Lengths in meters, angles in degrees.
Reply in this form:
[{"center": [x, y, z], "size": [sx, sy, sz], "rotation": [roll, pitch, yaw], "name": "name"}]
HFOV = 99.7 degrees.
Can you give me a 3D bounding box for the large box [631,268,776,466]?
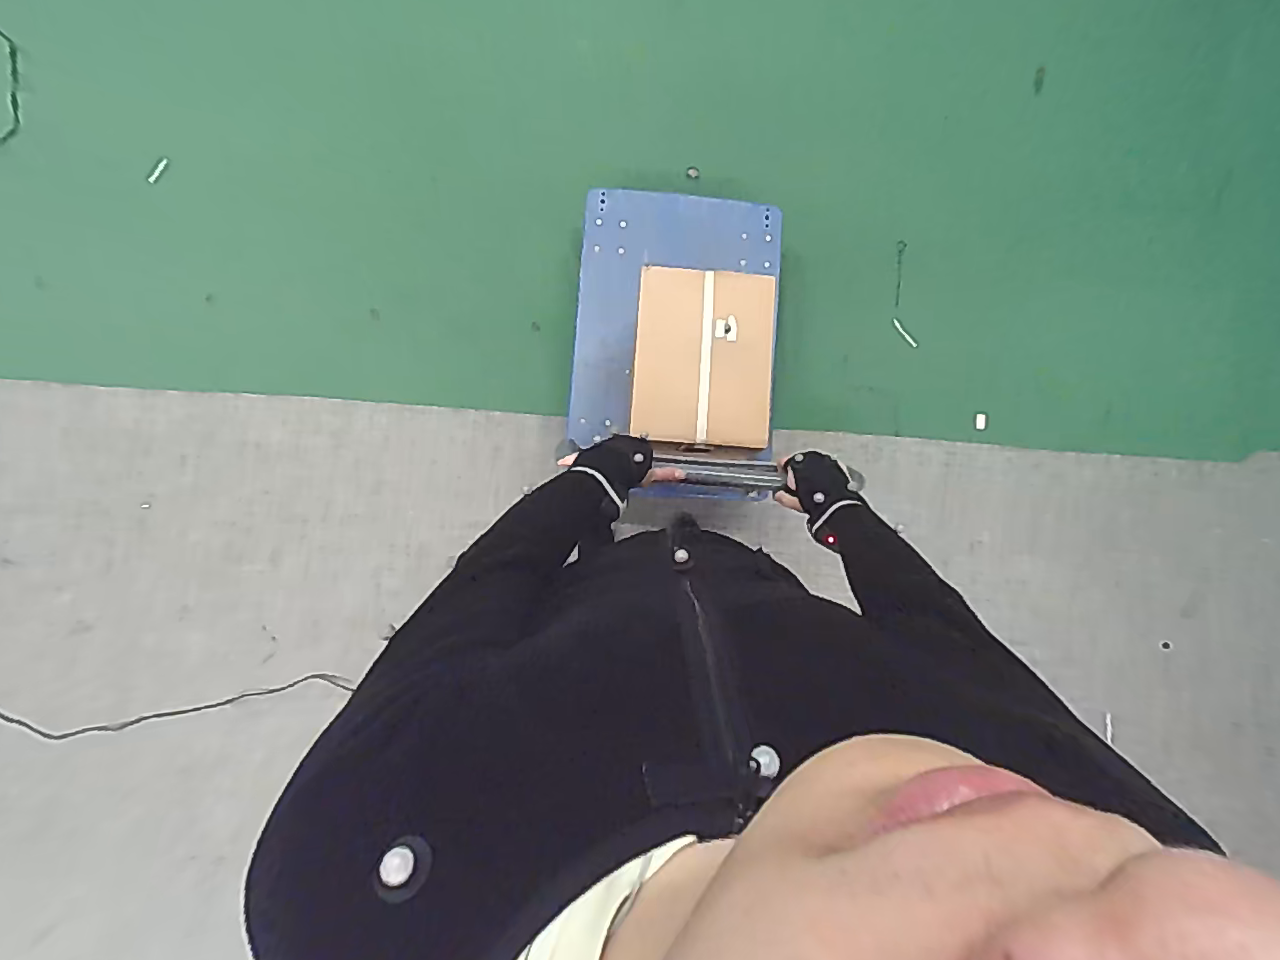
[{"center": [0.141, -0.256, 1.350], "size": [0.320, 0.320, 0.408], "rotation": [4, 84, -3], "name": "large box"}]
